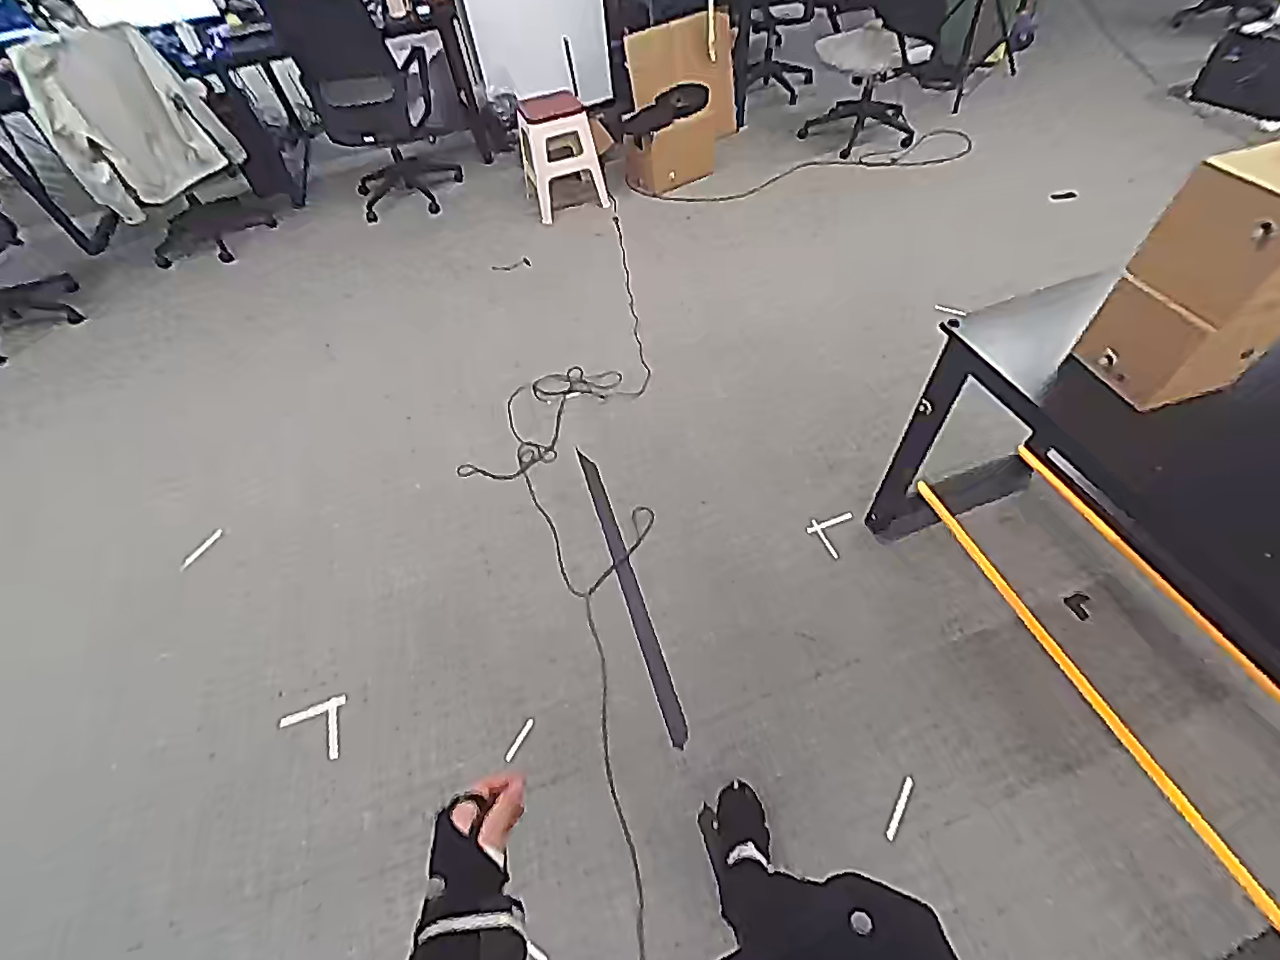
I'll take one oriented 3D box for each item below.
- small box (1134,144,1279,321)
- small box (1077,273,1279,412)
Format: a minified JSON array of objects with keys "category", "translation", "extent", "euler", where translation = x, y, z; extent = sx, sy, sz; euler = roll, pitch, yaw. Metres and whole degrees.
[{"category":"small box","translation":[0.883,-0.345,0.766],"extent":[0.168,0.176,0.179],"euler":[-16,52,-6]},{"category":"small box","translation":[0.892,-0.241,0.894],"extent":[0.179,0.176,0.168],"euler":[-17,52,-5]}]
